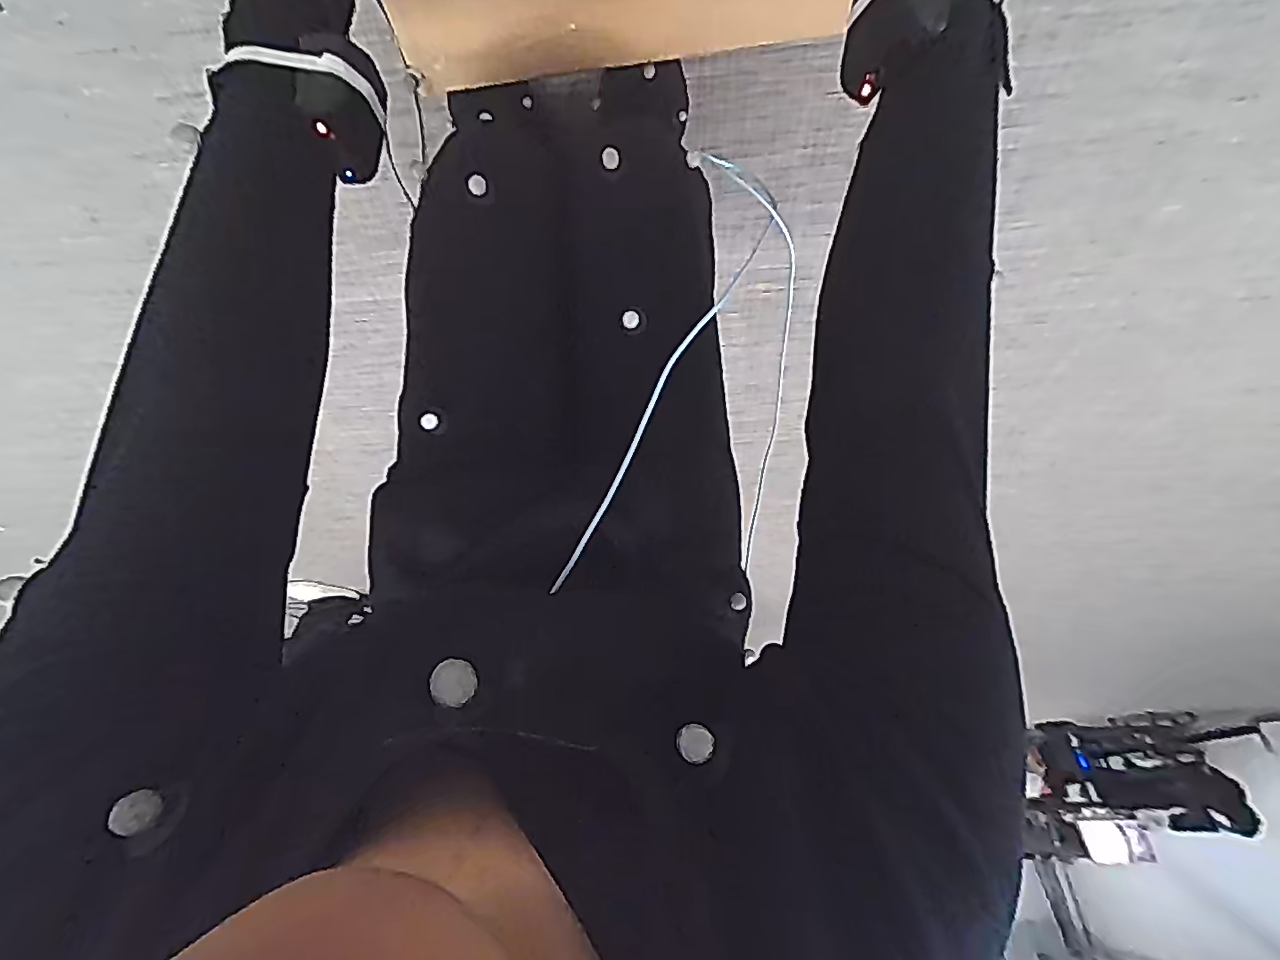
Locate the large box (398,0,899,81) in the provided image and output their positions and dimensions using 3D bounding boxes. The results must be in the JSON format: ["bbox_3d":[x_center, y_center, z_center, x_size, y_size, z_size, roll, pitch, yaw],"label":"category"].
[{"bbox_3d":[-0.004,-0.569,0.406,0.408,0.320,0.320,-3,146,6],"label":"large box"}]
